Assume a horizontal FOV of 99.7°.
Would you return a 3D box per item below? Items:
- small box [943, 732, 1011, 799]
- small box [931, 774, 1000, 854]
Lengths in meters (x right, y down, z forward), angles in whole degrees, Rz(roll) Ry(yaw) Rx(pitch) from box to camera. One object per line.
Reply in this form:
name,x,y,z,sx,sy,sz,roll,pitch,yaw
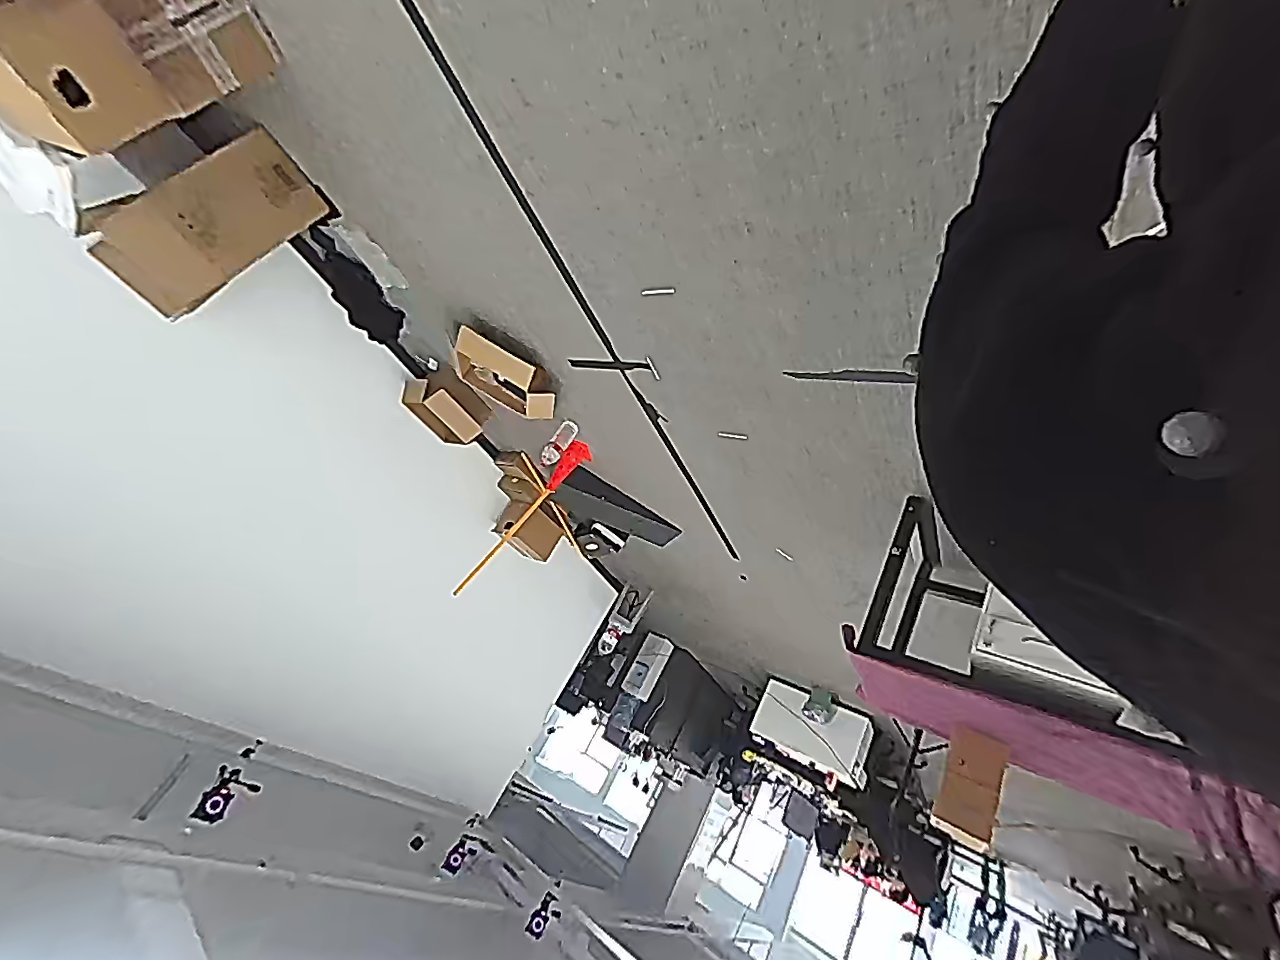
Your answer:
small box,1.208,1.031,1.946,0.179,0.176,0.168,13,149,35
small box,1.129,1.158,1.878,0.179,0.176,0.168,14,149,34
